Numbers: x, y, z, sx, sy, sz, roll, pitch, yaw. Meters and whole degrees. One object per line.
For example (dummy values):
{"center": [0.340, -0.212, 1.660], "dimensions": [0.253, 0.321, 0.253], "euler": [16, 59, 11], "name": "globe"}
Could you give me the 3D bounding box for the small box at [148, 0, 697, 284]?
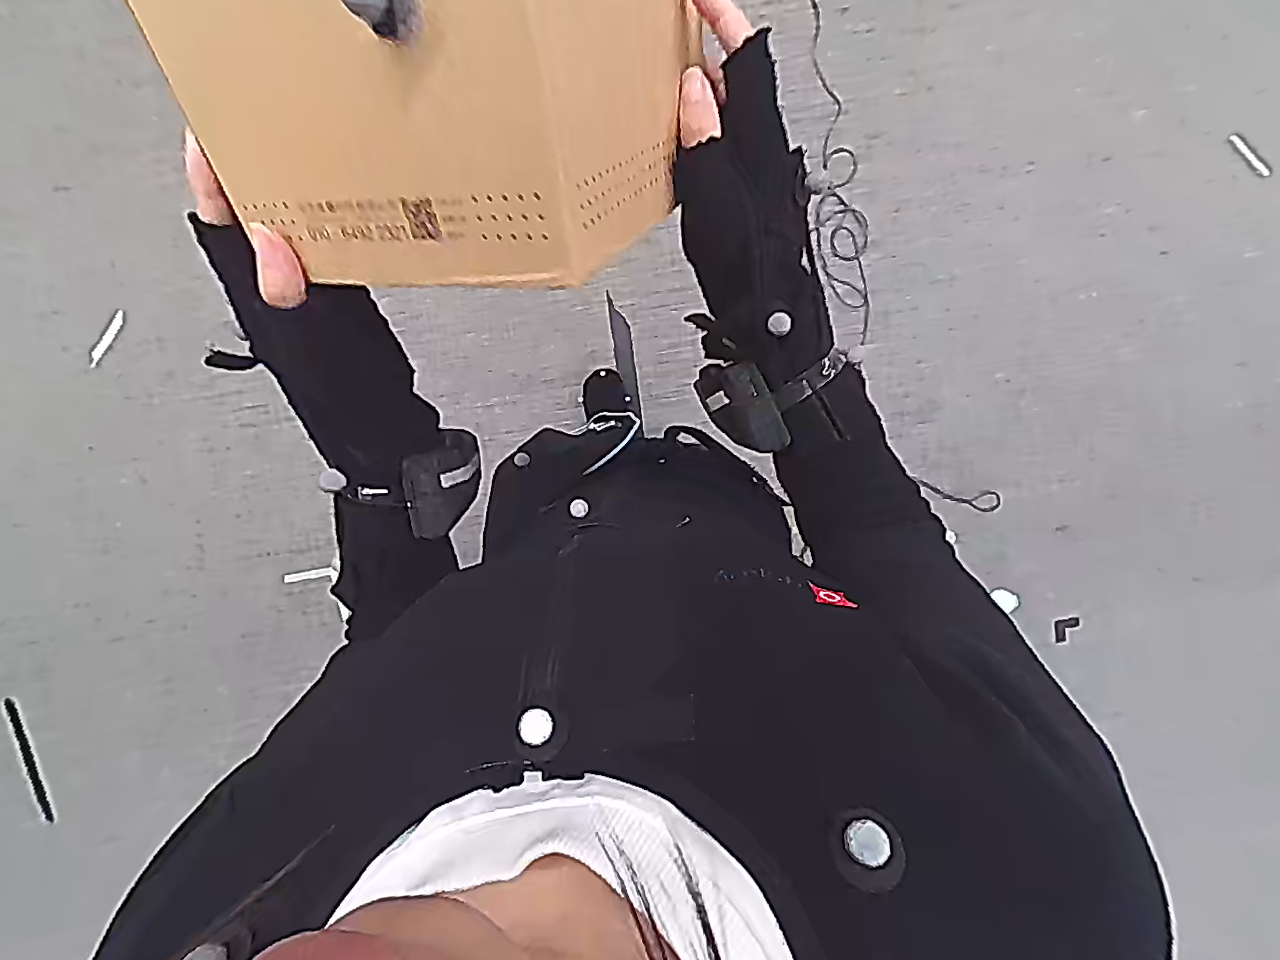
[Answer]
{"center": [-0.076, -0.198, 0.240], "dimensions": [0.168, 0.179, 0.176], "euler": [10, 131, 21], "name": "small box"}
